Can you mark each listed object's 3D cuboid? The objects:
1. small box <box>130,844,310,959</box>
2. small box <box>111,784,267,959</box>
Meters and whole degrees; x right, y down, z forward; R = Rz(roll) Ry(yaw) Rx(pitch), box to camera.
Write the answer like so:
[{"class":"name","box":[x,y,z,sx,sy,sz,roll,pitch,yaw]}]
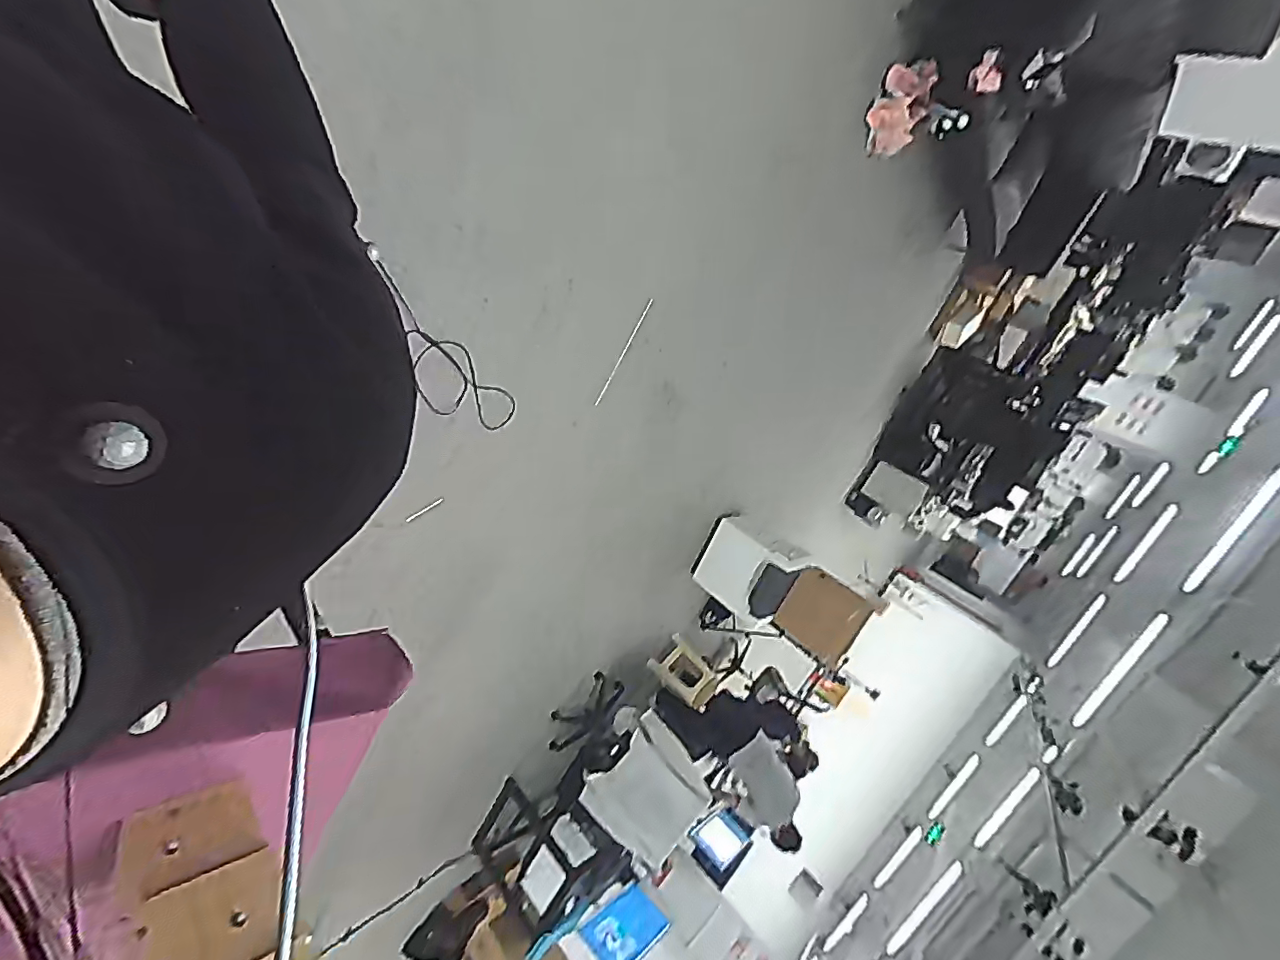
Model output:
[{"class":"small box","box":[-0.647,0.718,0.828,0.179,0.176,0.168,4,118,-52]},{"class":"small box","box":[-0.770,0.656,0.920,0.168,0.176,0.179,5,118,-52]}]
